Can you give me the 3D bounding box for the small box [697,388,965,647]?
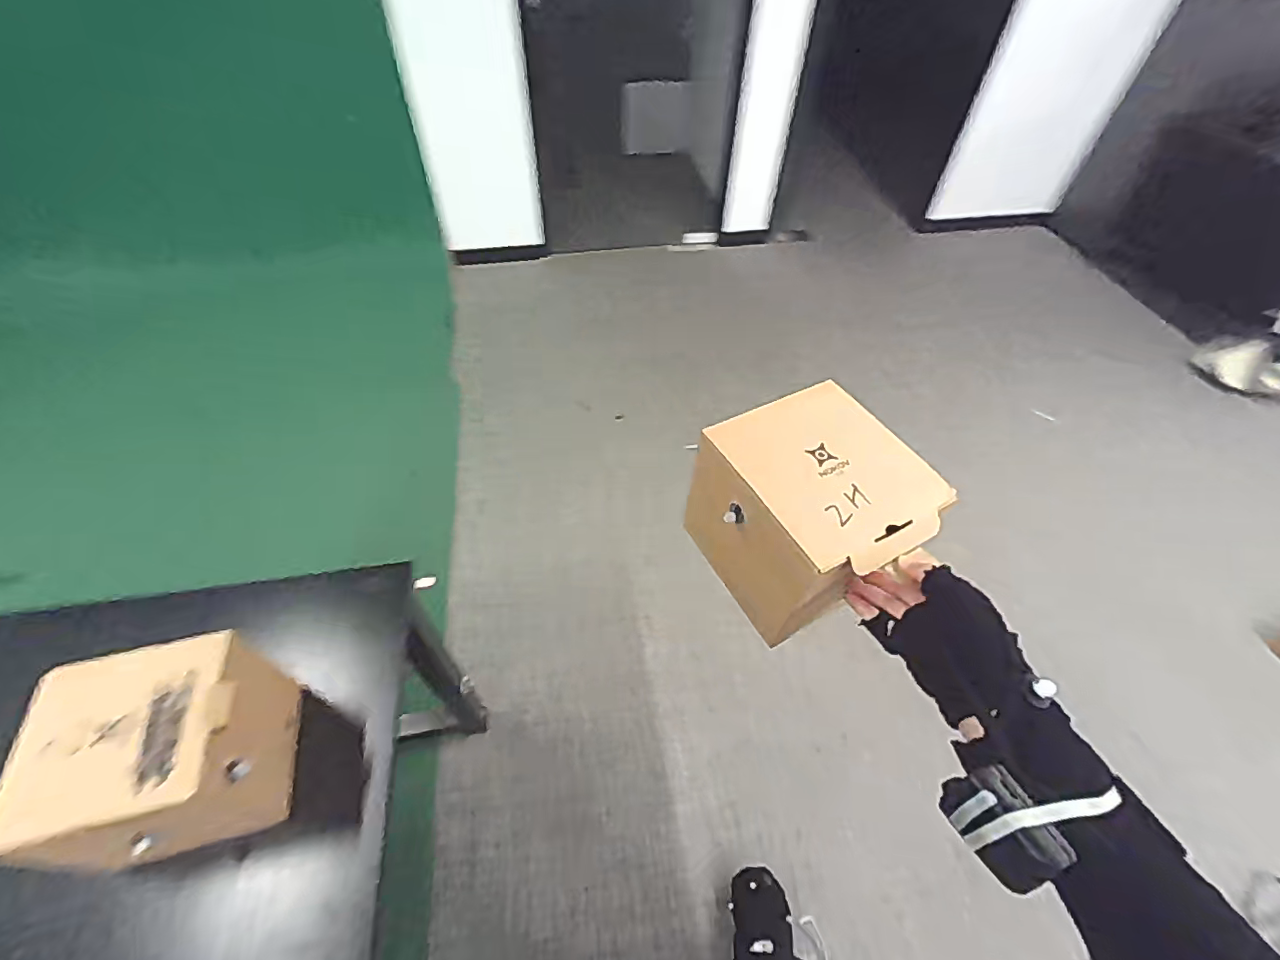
[{"bbox_3d":[0.175,0.040,0.562,0.168,0.176,0.179,-22,57,-19],"label":"small box"}]
